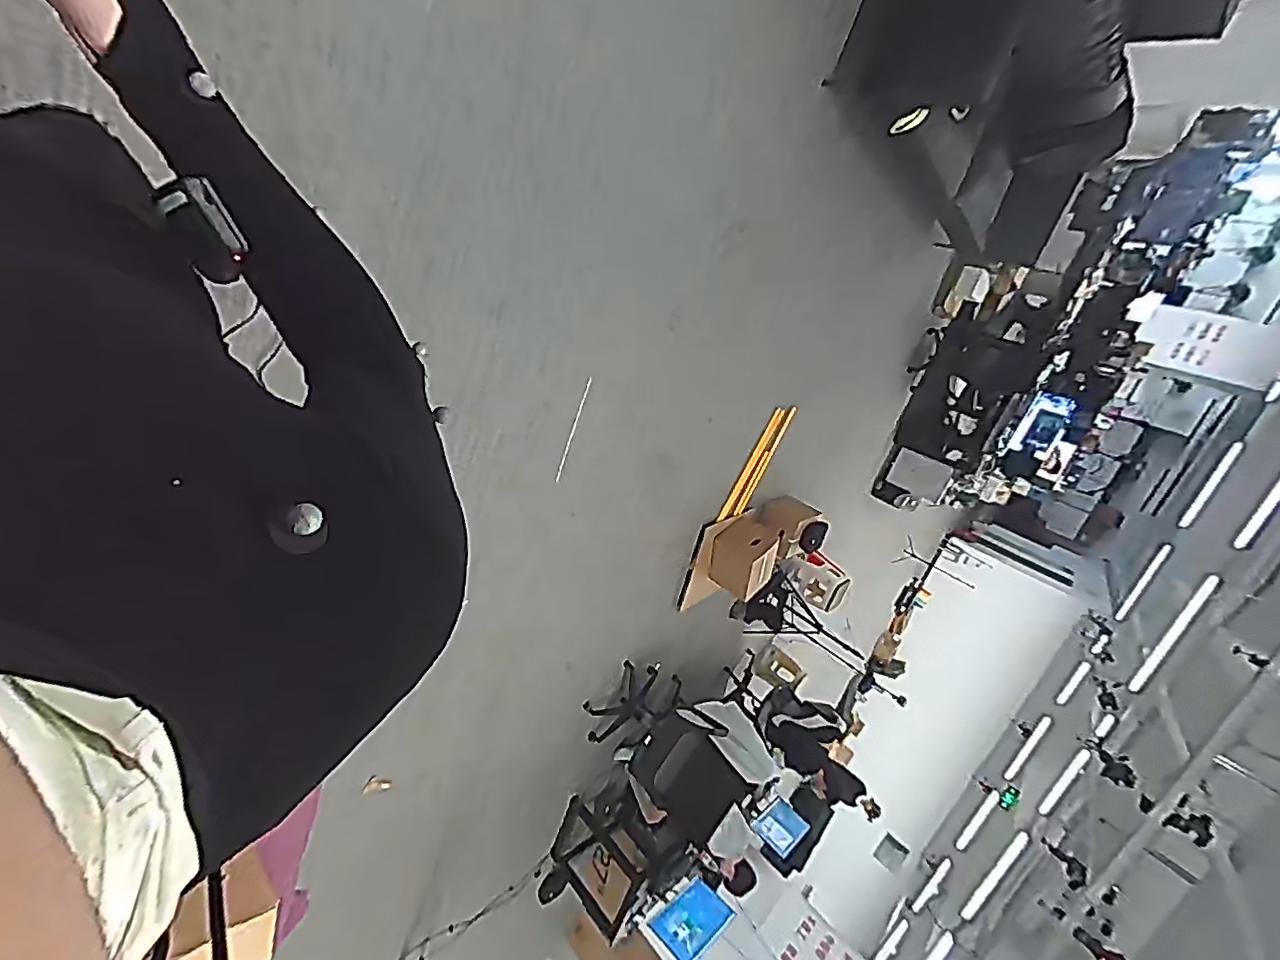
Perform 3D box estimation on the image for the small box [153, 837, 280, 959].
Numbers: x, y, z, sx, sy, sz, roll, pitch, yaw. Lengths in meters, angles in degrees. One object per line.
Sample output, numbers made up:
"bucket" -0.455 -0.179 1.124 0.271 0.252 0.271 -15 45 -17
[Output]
"small box" -0.825 0.854 1.051 0.168 0.176 0.179 -5 119 -48
